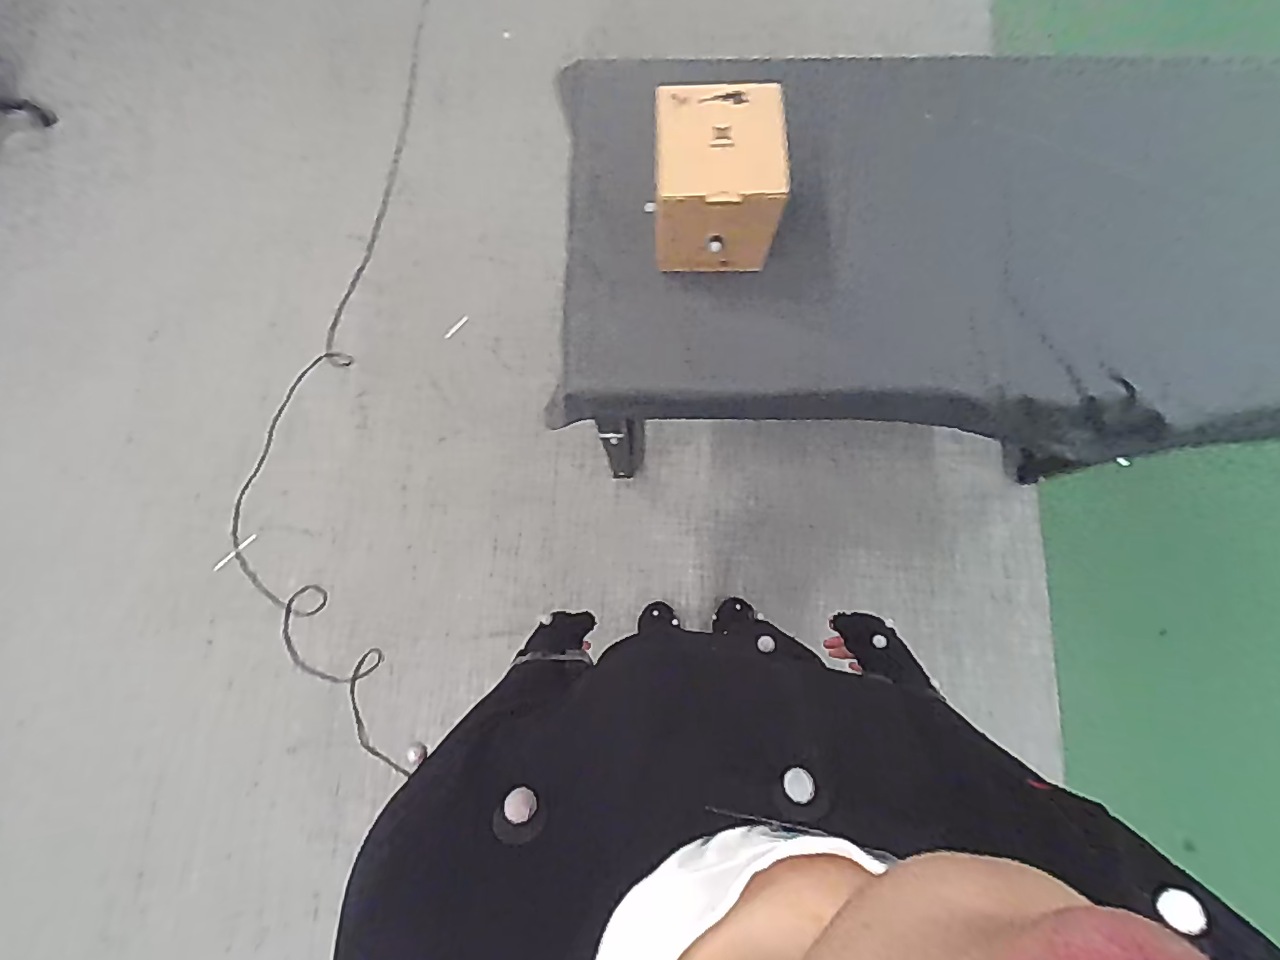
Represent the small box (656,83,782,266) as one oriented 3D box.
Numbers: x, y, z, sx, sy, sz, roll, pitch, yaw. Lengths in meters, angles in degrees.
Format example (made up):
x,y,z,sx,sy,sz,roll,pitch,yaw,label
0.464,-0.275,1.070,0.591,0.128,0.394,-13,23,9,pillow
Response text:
x,y,z,sx,sy,sz,roll,pitch,yaw,label
0.107,-0.434,0.793,0.168,0.176,0.179,0,79,1,small box
